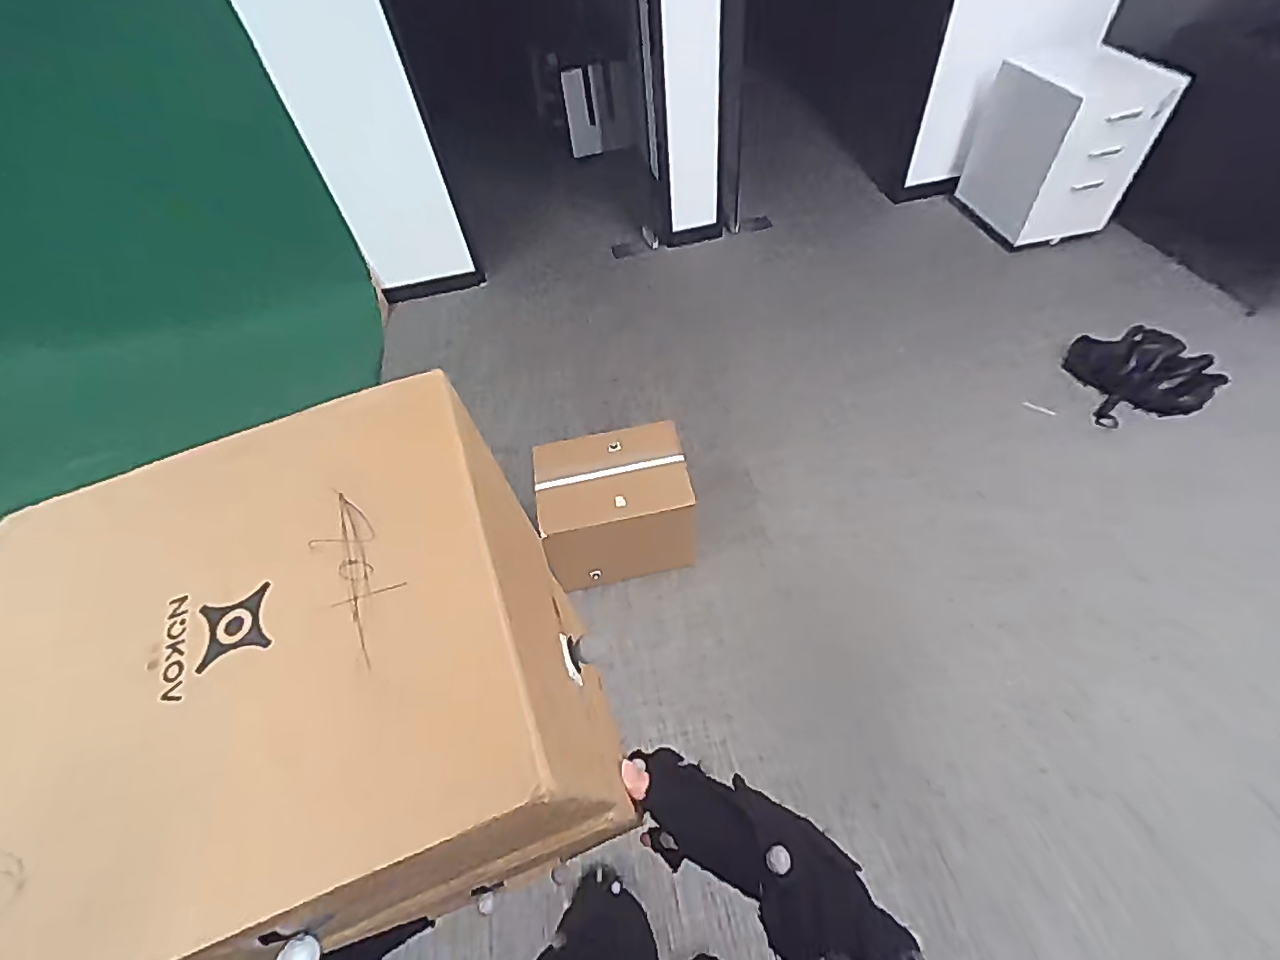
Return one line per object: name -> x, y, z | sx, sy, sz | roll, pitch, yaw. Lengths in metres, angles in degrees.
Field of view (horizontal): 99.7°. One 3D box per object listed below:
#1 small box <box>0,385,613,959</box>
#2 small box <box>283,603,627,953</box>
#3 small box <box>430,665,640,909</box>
small box -> -0.126, 0.093, 0.250 | 0.179, 0.176, 0.168 | -21, 60, -8
small box -> -0.115, 0.181, 0.384 | 0.179, 0.176, 0.168 | -21, 59, -5
small box -> -0.108, 0.266, 0.526 | 0.168, 0.176, 0.179 | -22, 60, -7
